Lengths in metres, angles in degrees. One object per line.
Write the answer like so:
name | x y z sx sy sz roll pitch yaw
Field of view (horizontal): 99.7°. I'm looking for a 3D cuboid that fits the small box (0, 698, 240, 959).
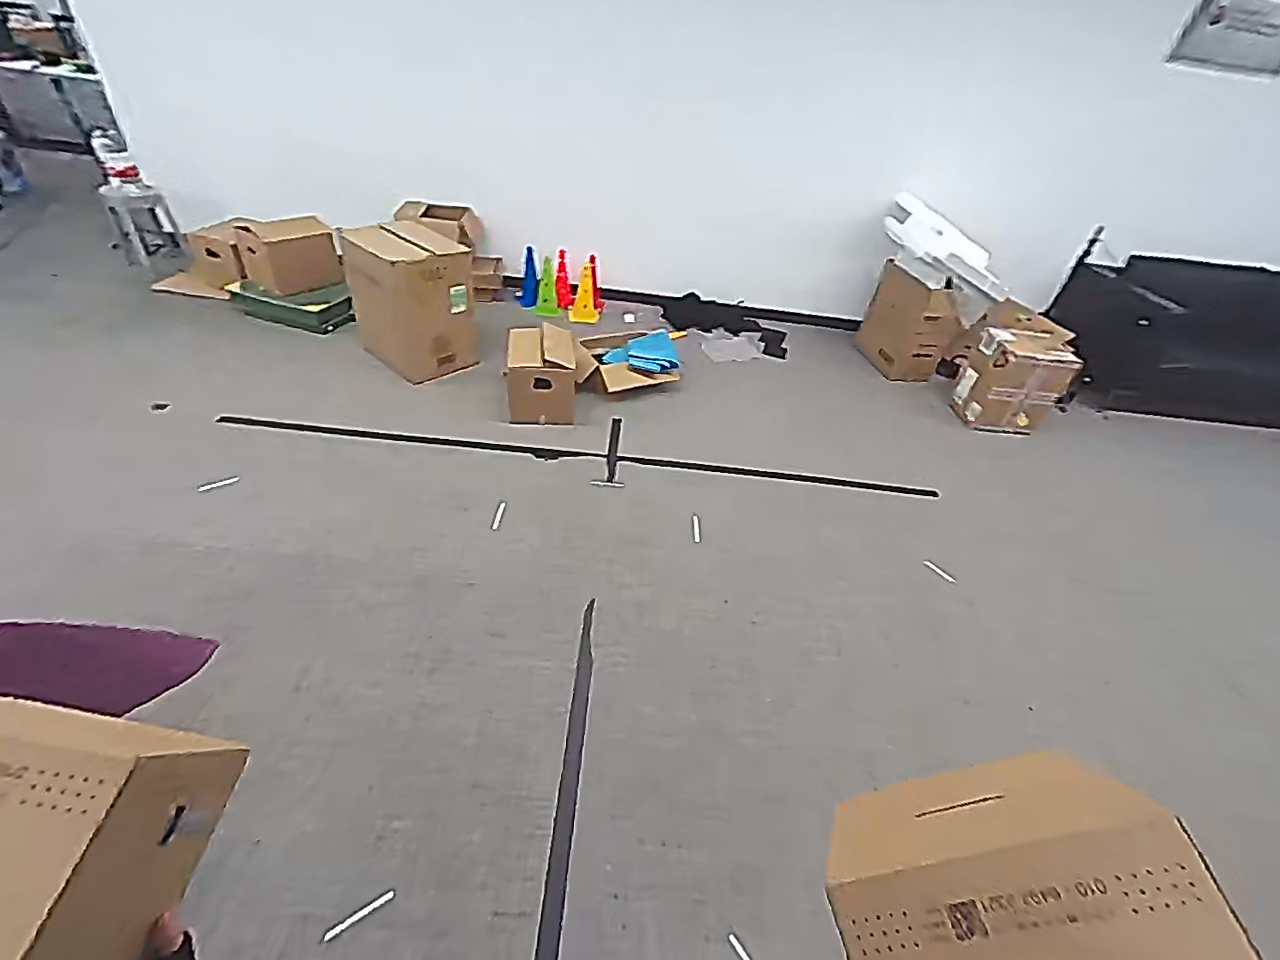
small box | -0.362 0.211 0.284 0.168 0.179 0.176 18 61 -10
